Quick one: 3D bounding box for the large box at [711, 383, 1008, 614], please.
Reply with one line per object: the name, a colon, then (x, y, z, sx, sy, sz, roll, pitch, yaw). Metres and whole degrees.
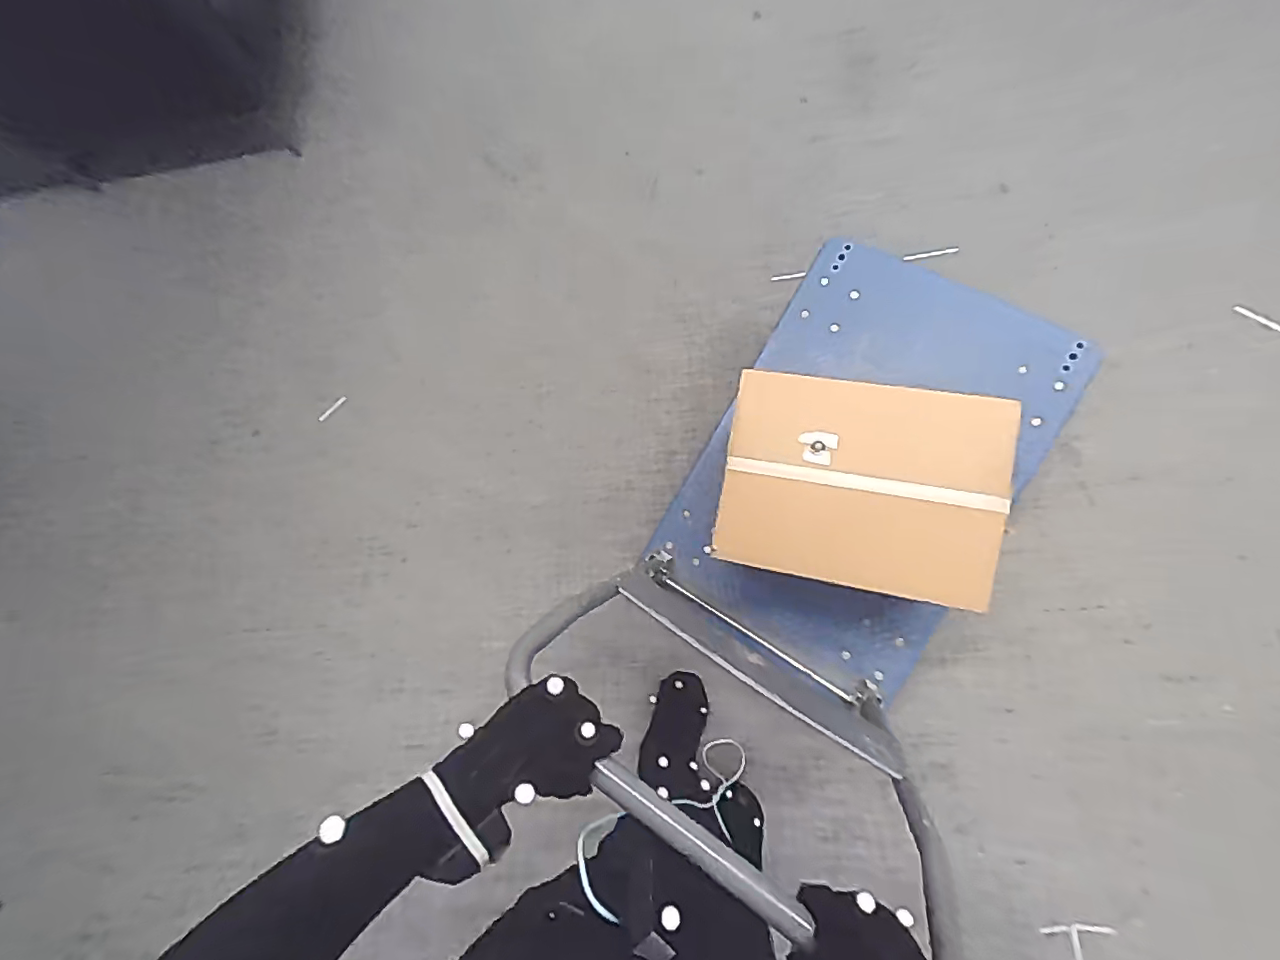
large box: (0.369, 0.029, 0.982, 0.408, 0.320, 0.320, 10, 87, 16)
